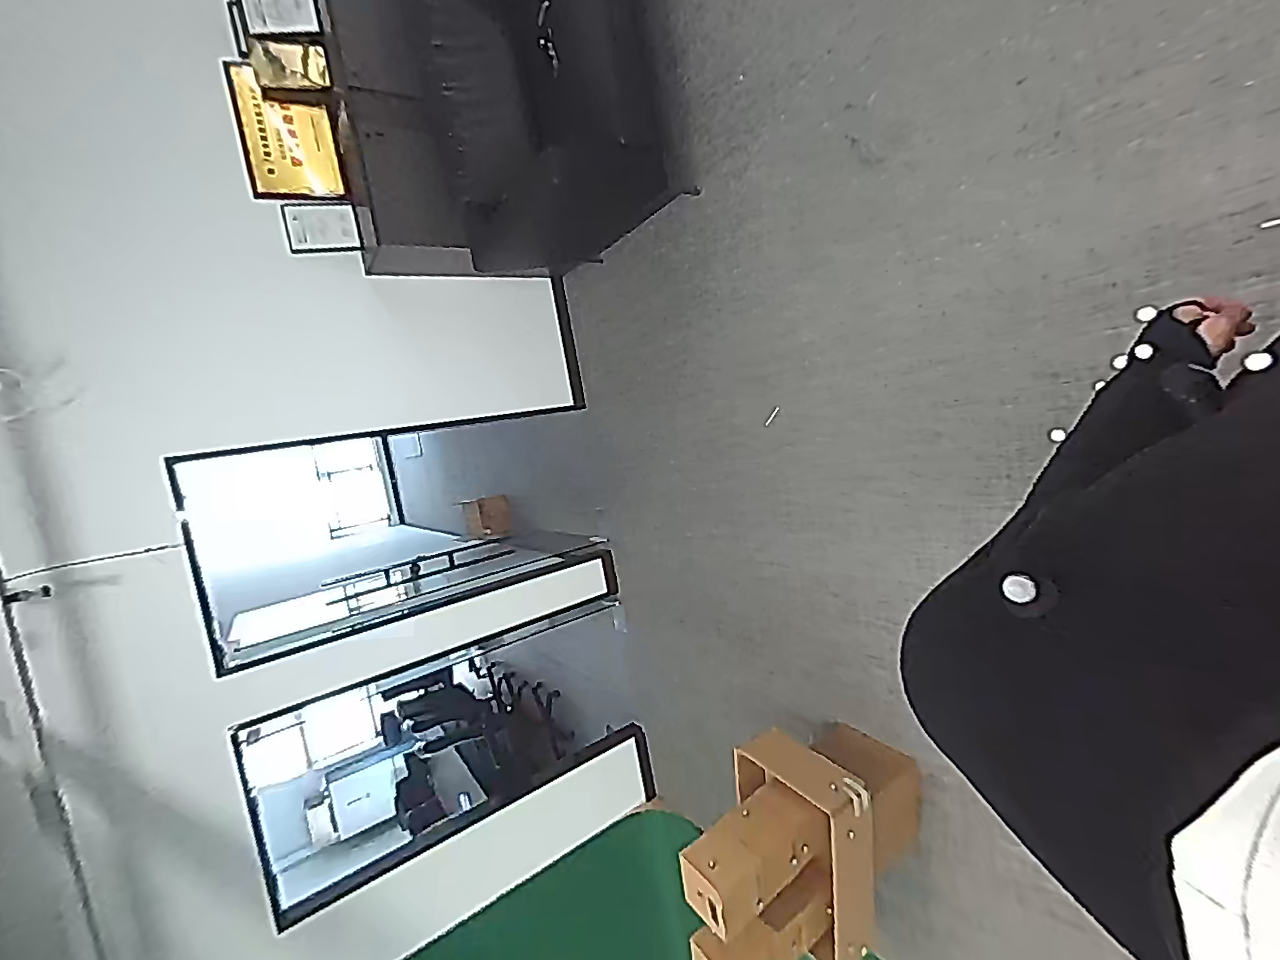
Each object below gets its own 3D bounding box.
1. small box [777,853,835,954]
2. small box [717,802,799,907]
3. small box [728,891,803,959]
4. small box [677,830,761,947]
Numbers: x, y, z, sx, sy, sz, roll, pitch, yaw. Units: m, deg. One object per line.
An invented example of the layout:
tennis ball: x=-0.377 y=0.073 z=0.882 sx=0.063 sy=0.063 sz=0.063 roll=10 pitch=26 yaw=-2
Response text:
small box: x=0.522 y=1.388 z=1.793 sx=0.179 sy=0.176 sz=0.168 roll=10 pitch=110 yaw=54
small box: x=0.361 y=1.128 z=1.651 sx=0.179 sy=0.176 sz=0.168 roll=6 pitch=106 yaw=53
small box: x=0.391 y=1.419 z=1.705 sx=0.179 sy=0.176 sz=0.168 roll=10 pitch=108 yaw=53
small box: x=0.232 y=1.160 z=1.554 sx=0.179 sy=0.176 sz=0.168 roll=6 pitch=106 yaw=55
